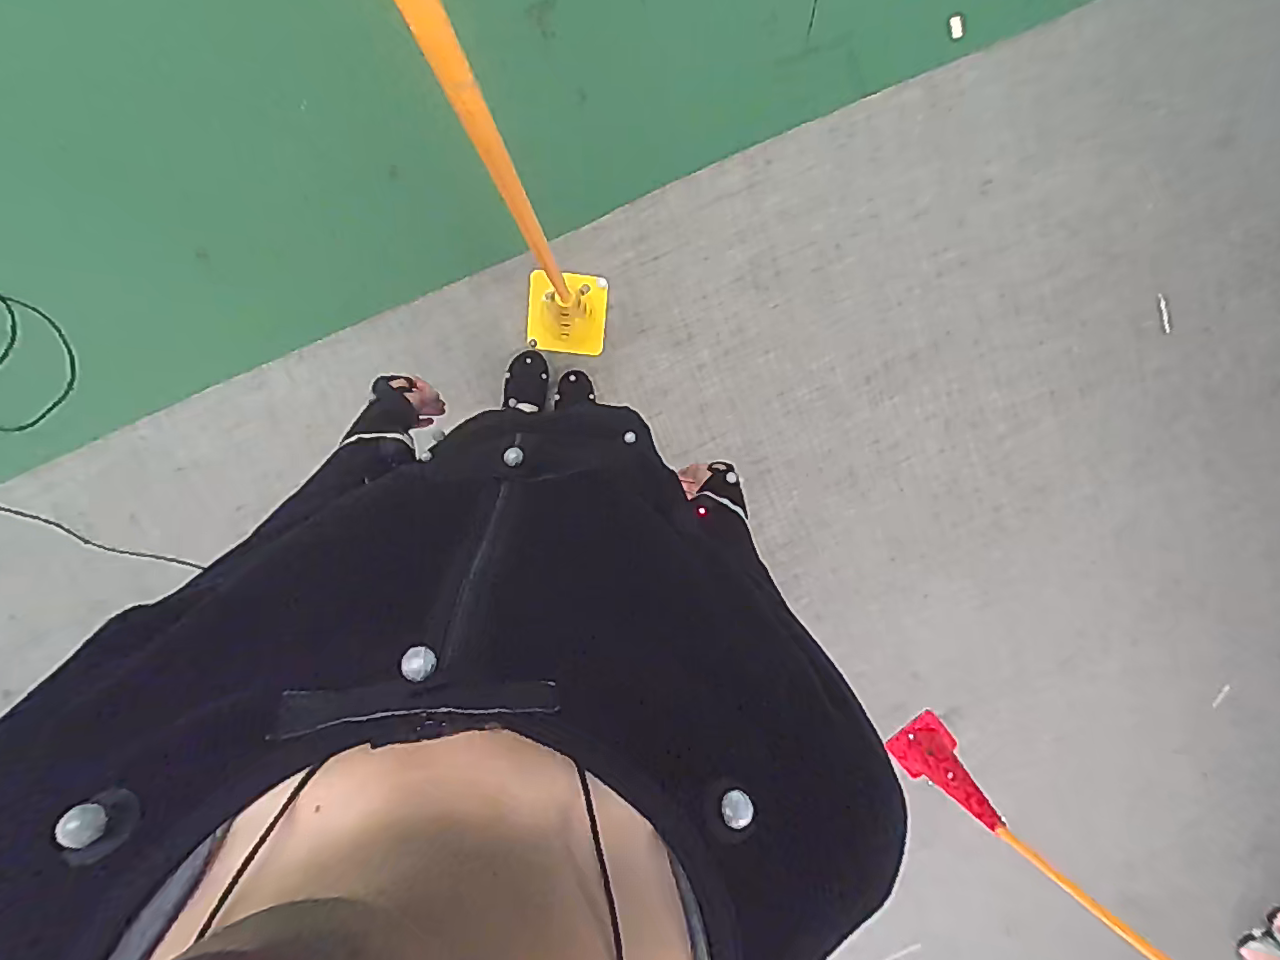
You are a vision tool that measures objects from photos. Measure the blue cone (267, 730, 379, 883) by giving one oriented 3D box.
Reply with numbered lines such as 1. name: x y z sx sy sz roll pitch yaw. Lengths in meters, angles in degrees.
1. blue cone: -0.847 0.862 1.414 0.192 0.380 0.193 20 101 -12
